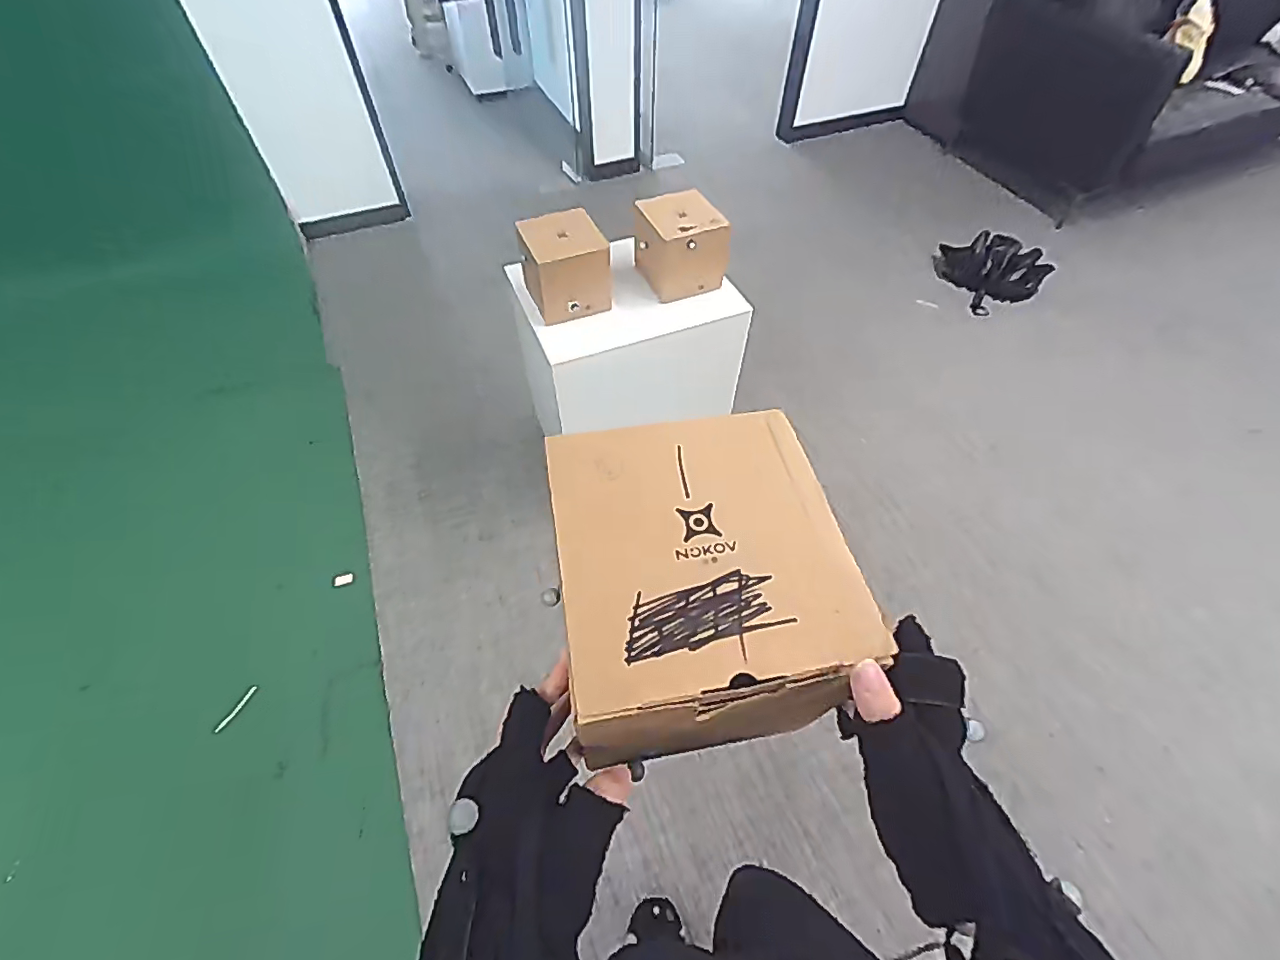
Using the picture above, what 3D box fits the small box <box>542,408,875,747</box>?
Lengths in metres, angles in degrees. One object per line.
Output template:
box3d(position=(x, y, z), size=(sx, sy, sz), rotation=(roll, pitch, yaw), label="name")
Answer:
box3d(position=(0.029, 0.077, 0.383), size=(0.168, 0.176, 0.179), rotation=(-8, 55, -7), label="small box")

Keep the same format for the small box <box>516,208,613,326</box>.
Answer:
box3d(position=(-0.171, -0.489, 1.247), size=(0.168, 0.176, 0.179), rotation=(-21, 59, -13), label="small box")

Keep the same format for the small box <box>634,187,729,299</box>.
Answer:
box3d(position=(0.092, -0.565, 1.293), size=(0.168, 0.176, 0.179), rotation=(-21, 57, -12), label="small box")
